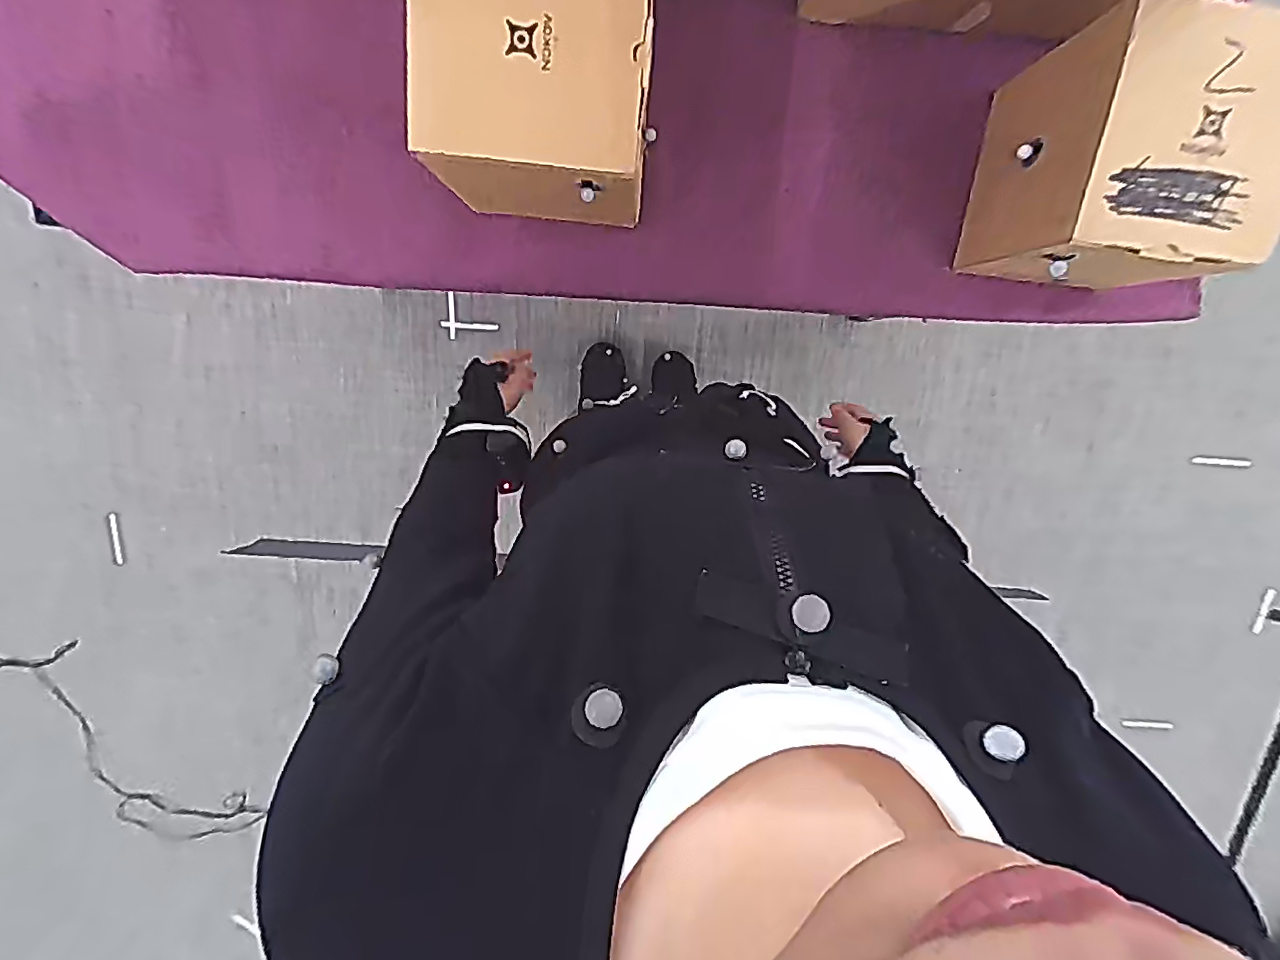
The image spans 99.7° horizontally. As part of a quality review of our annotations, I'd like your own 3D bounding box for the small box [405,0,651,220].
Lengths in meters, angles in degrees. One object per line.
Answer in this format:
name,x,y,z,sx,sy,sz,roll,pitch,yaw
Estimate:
small box,-0.085,-0.338,0.471,0.179,0.176,0.168,4,102,-3
